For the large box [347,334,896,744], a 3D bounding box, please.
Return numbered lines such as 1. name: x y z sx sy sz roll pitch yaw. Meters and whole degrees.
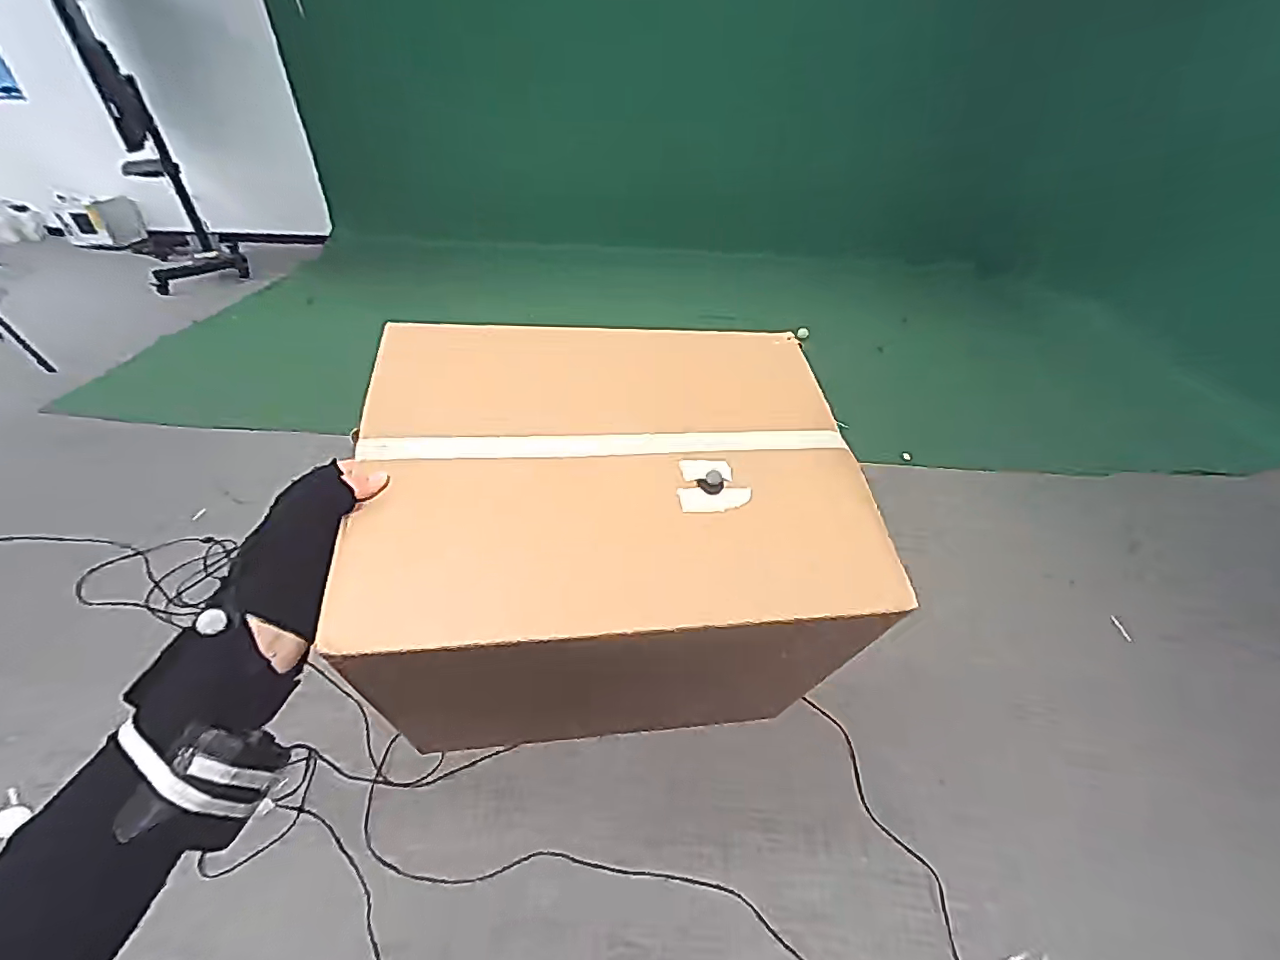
1. large box: -0.036 0.066 0.582 0.408 0.320 0.320 -1 54 -11
